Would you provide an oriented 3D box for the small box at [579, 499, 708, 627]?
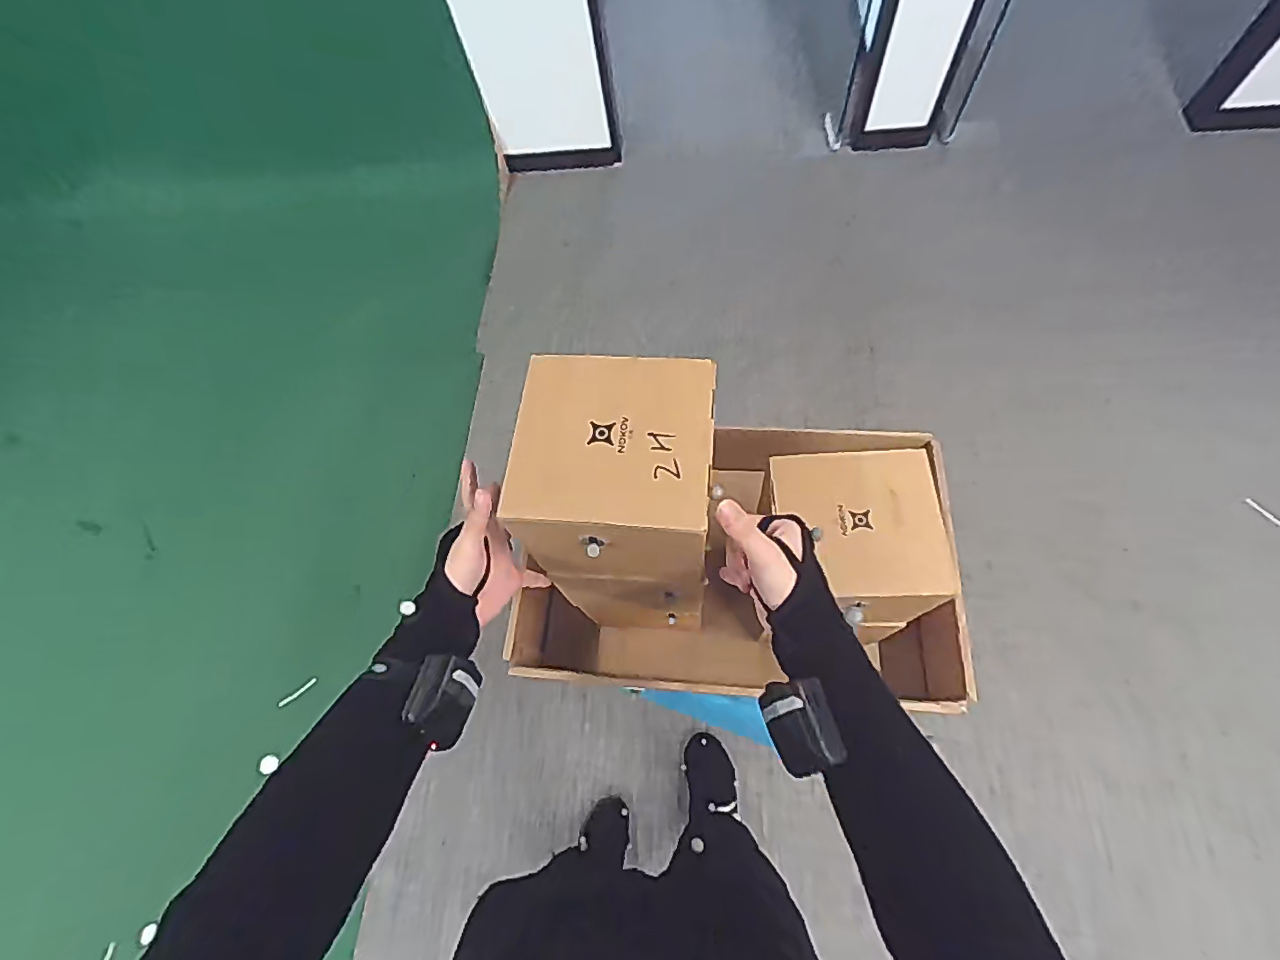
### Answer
[{"bbox_3d":[0.015,0.130,0.841,0.179,0.176,0.168,2,66,6],"label":"small box"}]

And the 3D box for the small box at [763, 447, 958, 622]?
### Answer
[{"bbox_3d":[0.243,0.074,0.650,0.179,0.176,0.168,-3,66,7],"label":"small box"}]

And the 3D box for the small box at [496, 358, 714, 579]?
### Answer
[{"bbox_3d":[-0.020,-0.004,0.543,0.179,0.176,0.168,4,67,6],"label":"small box"}]
